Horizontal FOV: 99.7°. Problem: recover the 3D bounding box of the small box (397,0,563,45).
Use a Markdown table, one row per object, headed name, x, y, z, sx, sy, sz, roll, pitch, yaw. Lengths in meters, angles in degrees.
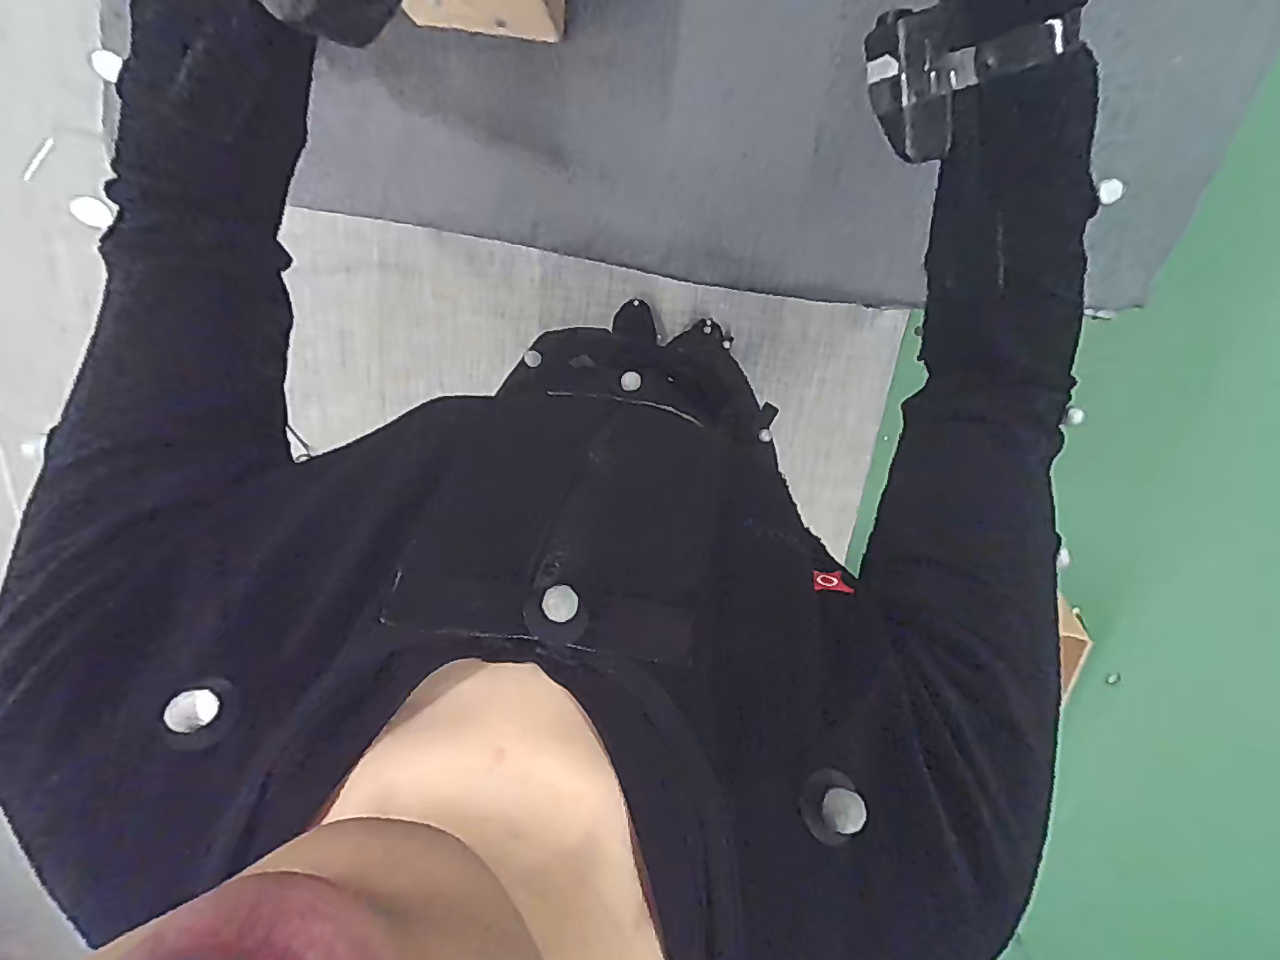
| name | x | y | z | sx | sy | sz | roll | pitch | yaw |
| --- | --- | --- | --- | --- | --- | --- | --- | --- | --- |
| small box | -0.161 | -0.540 | 0.492 | 0.168 | 0.176 | 0.179 | 9 | 106 | 1 |
